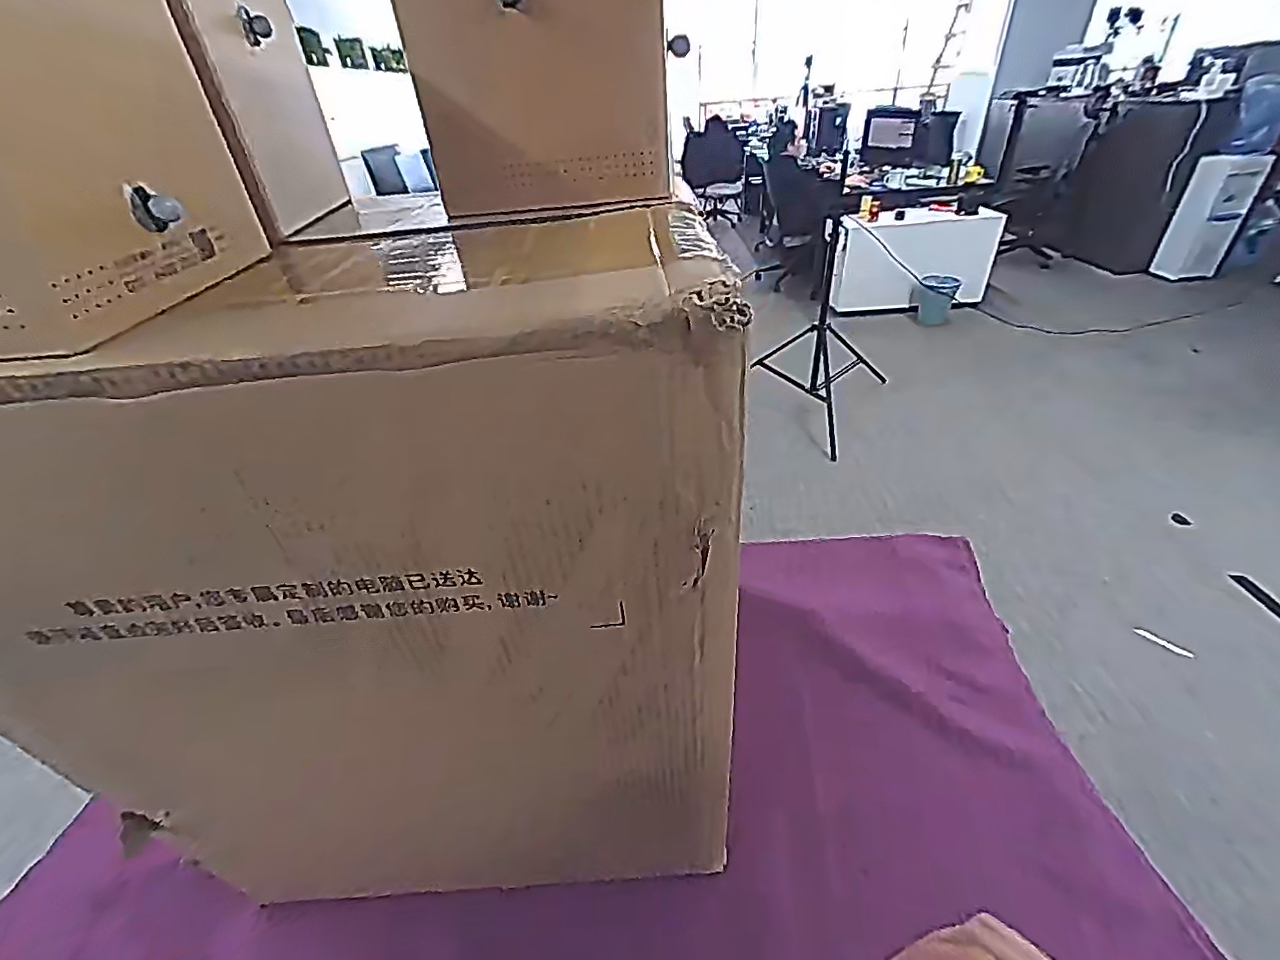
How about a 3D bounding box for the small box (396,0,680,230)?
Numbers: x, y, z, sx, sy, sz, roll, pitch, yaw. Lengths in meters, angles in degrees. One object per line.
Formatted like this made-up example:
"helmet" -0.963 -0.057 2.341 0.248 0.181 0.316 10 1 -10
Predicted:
"small box" -0.058 -0.308 0.427 0.179 0.176 0.168 -2 36 6
